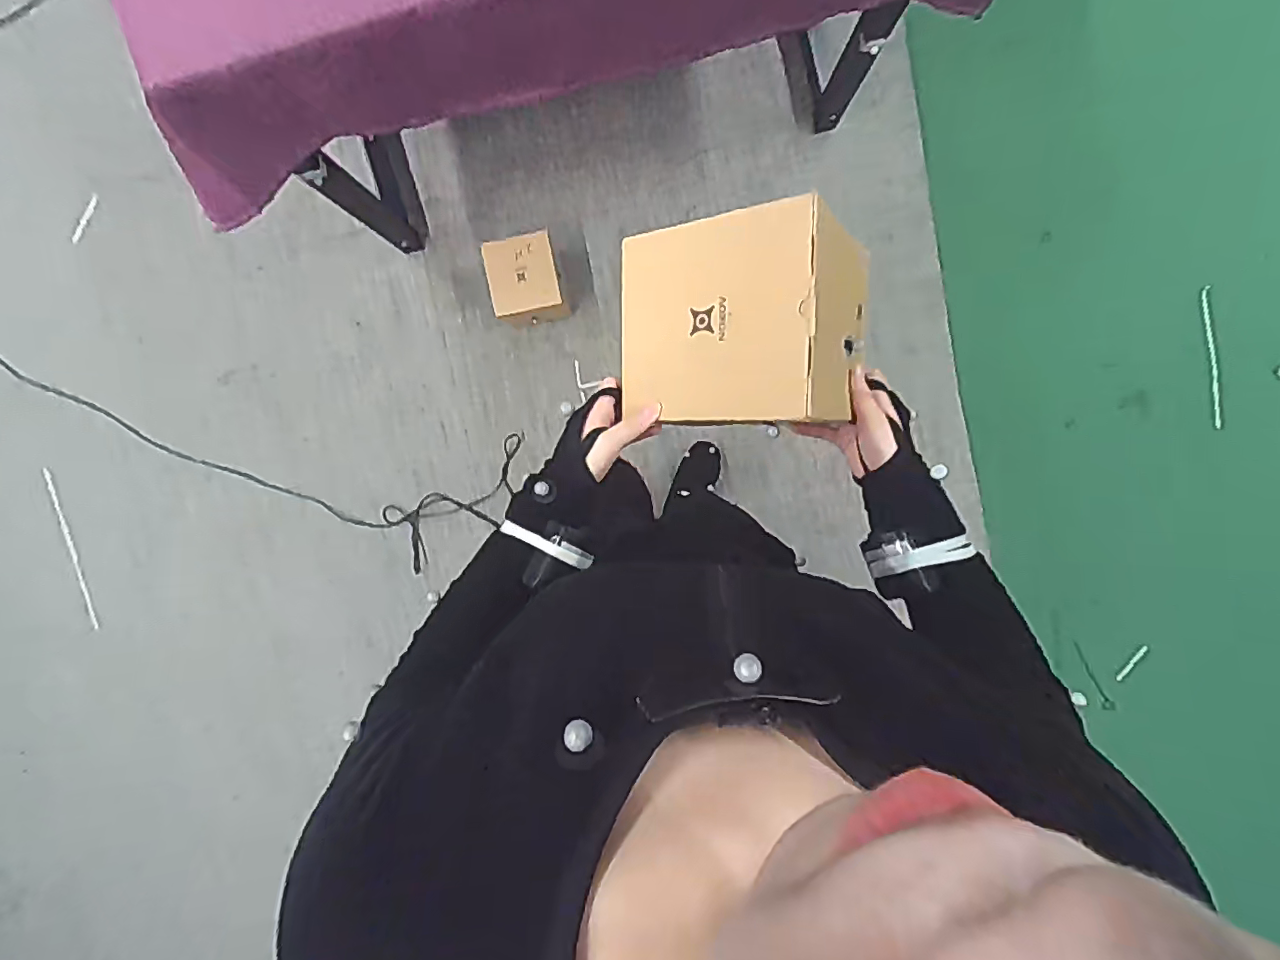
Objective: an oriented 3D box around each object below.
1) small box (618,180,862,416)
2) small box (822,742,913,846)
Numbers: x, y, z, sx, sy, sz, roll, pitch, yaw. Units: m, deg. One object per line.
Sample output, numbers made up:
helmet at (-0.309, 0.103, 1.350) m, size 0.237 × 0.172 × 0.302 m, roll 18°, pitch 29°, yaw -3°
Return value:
small box at (0.097, -0.147, 0.513) m, size 0.179 × 0.176 × 0.168 m, roll 2°, pitch 96°, yaw 34°
small box at (0.608, 0.839, 1.465) m, size 0.168 × 0.176 × 0.179 m, roll -13°, pitch 96°, yaw 4°
